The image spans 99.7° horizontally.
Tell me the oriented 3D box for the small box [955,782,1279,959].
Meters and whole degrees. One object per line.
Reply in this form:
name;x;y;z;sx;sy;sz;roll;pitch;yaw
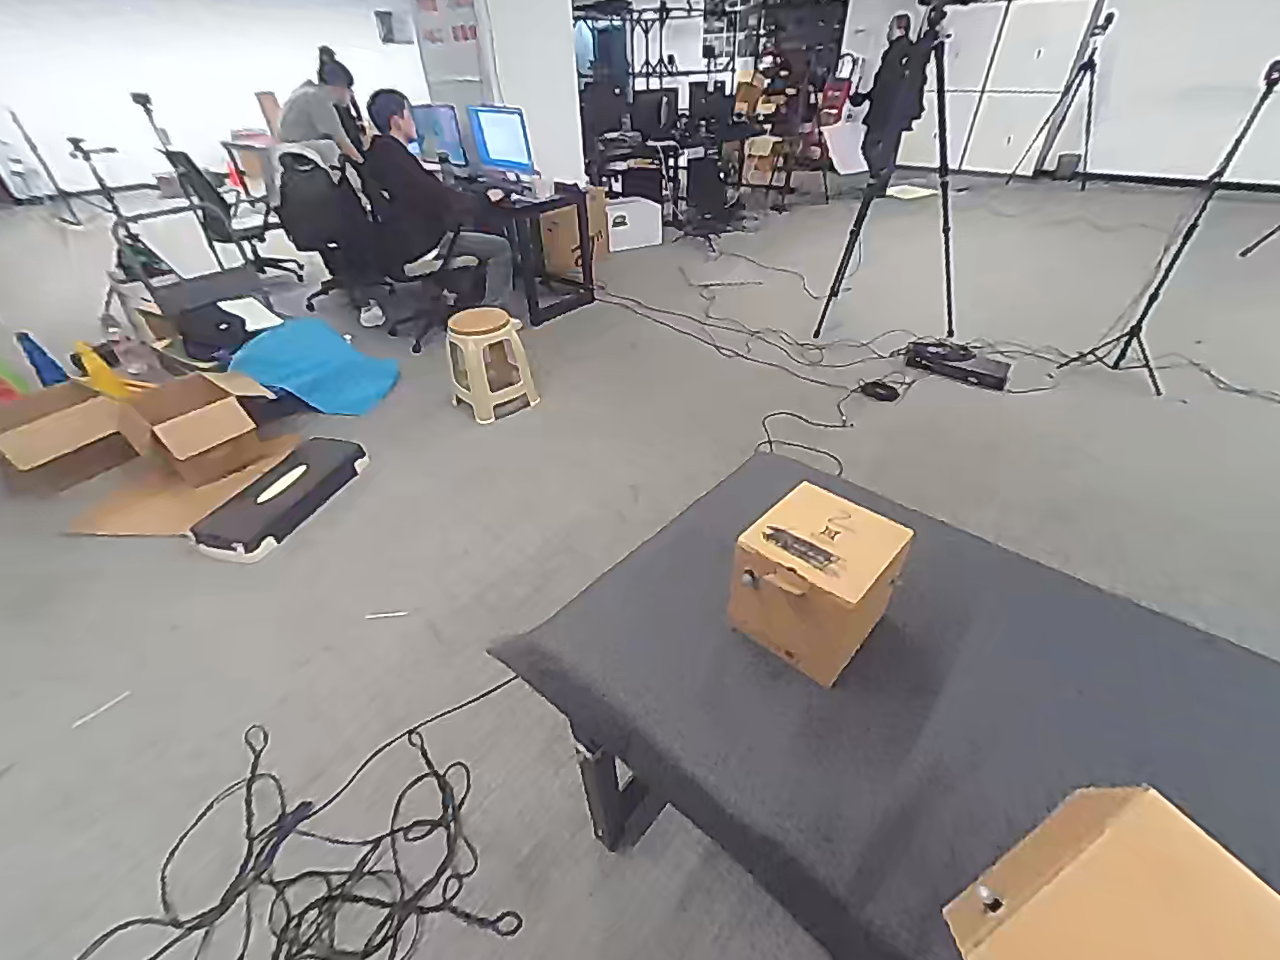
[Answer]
small box;0.357;0.344;0.386;0.179;0.176;0.168;-41;54;-1
